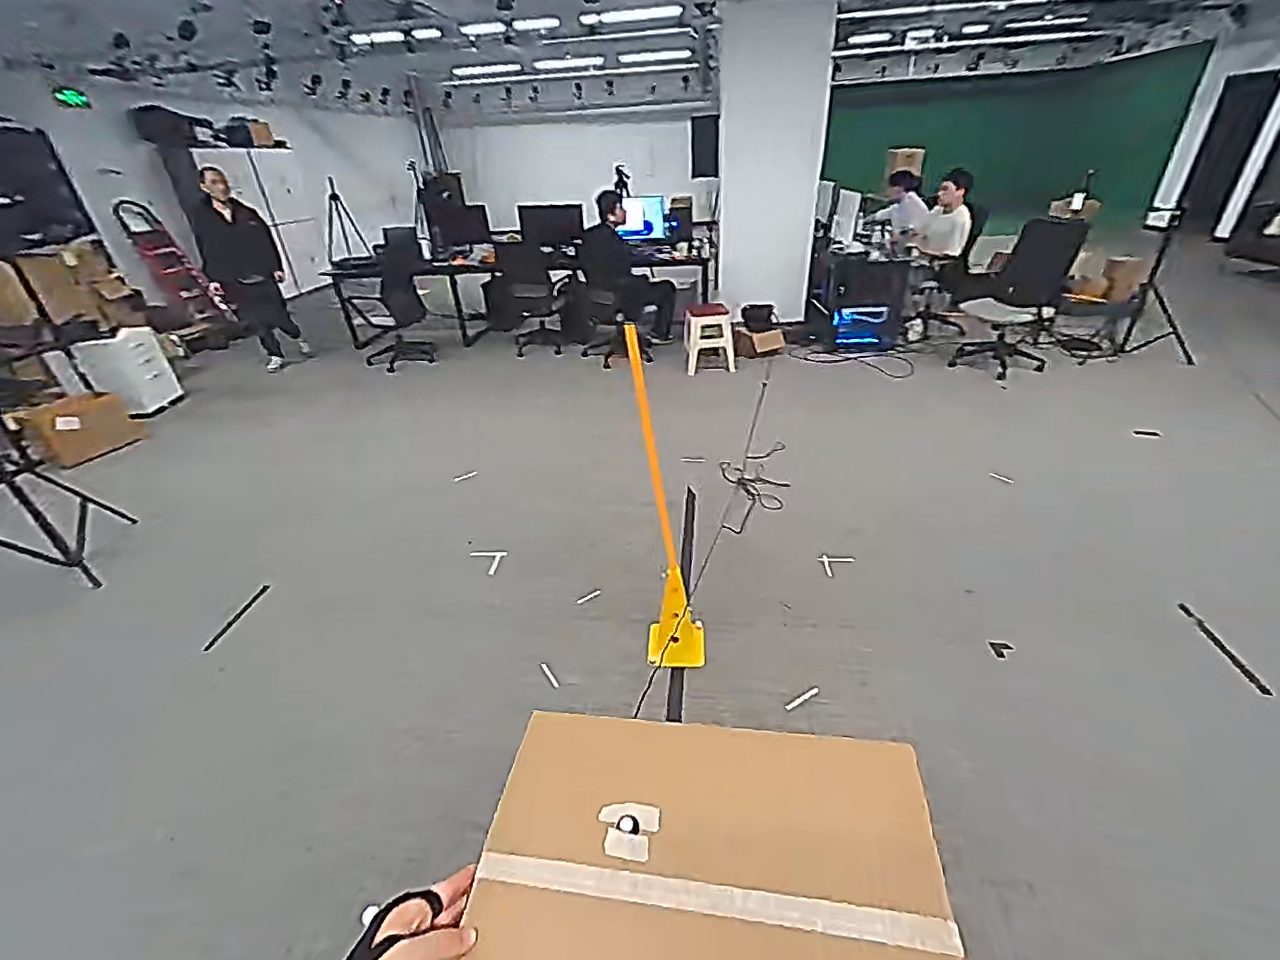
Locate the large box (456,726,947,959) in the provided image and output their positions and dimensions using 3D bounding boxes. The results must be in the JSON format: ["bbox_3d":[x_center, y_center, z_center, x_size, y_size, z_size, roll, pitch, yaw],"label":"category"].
[{"bbox_3d":[0.070,0.486,0.552,0.408,0.320,0.320,-2,34,12],"label":"large box"}]
